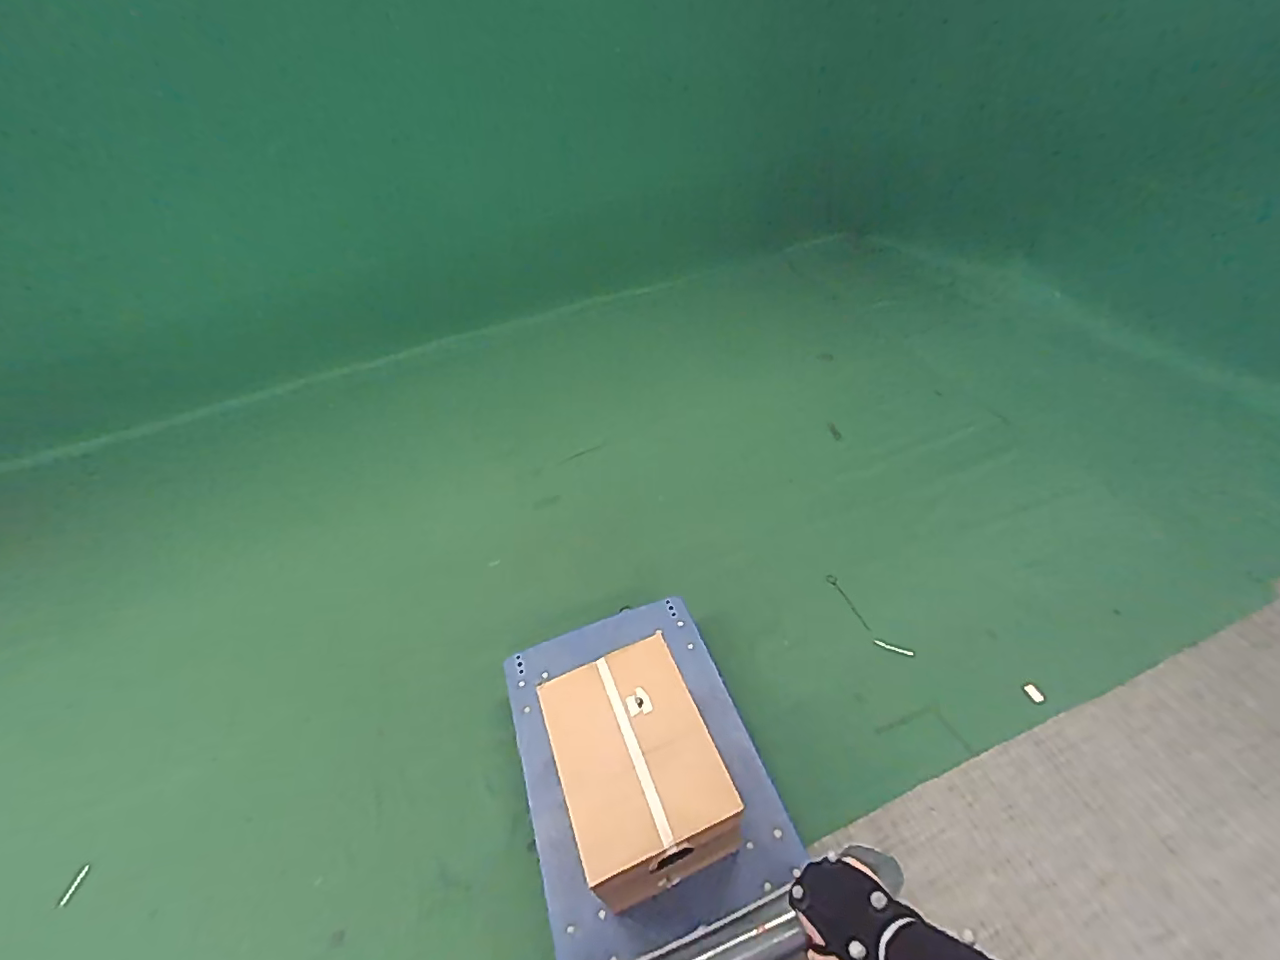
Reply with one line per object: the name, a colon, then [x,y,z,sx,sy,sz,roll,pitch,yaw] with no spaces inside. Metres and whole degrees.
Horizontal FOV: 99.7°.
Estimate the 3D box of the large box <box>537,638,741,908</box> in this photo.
large box: [-0.001,0.654,1.230,0.320,0.320,0.408,-20,45,-11]
